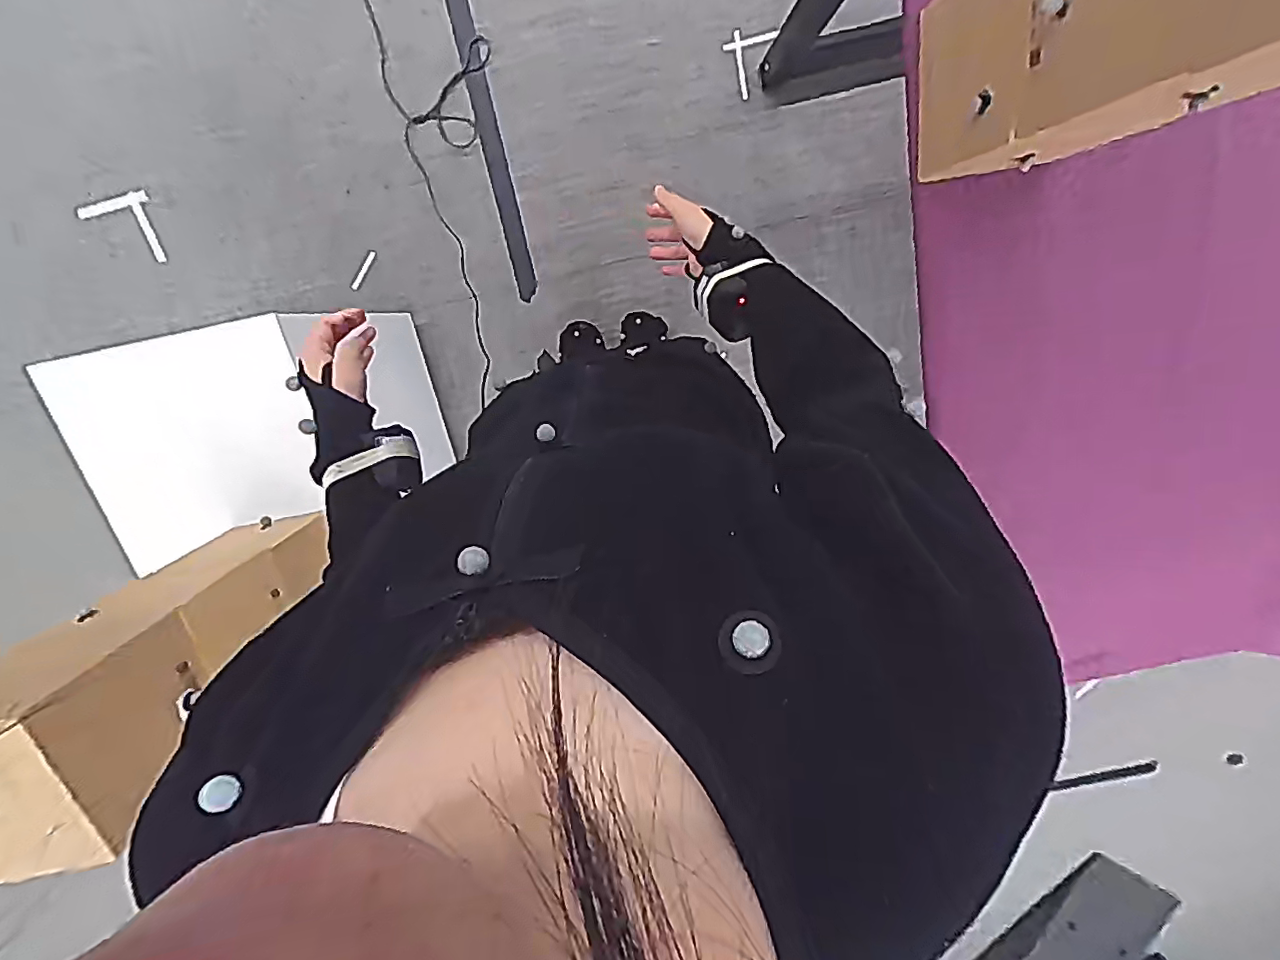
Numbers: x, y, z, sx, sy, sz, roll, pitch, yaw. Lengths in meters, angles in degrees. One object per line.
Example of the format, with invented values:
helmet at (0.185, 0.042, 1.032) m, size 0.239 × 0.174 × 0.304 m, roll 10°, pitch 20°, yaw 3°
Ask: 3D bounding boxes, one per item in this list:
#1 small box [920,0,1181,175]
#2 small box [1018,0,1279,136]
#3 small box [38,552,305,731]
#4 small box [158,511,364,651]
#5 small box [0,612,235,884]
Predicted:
small box at (0.411, -0.431, 0.555) m, size 0.168 × 0.176 × 0.179 m, roll -9°, pitch 107°, yaw 0°
small box at (0.427, -0.381, 0.400) m, size 0.179 × 0.176 × 0.168 m, roll -9°, pitch 108°, yaw 2°
small box at (-0.571, 0.210, 0.694) m, size 0.179 × 0.176 × 0.168 m, roll -12°, pitch 107°, yaw 2°
small box at (-0.577, 0.162, 0.850) m, size 0.179 × 0.176 × 0.168 m, roll -11°, pitch 107°, yaw 2°
small box at (-0.568, 0.257, 0.538) m, size 0.179 × 0.176 × 0.168 m, roll -13°, pitch 108°, yaw 2°
